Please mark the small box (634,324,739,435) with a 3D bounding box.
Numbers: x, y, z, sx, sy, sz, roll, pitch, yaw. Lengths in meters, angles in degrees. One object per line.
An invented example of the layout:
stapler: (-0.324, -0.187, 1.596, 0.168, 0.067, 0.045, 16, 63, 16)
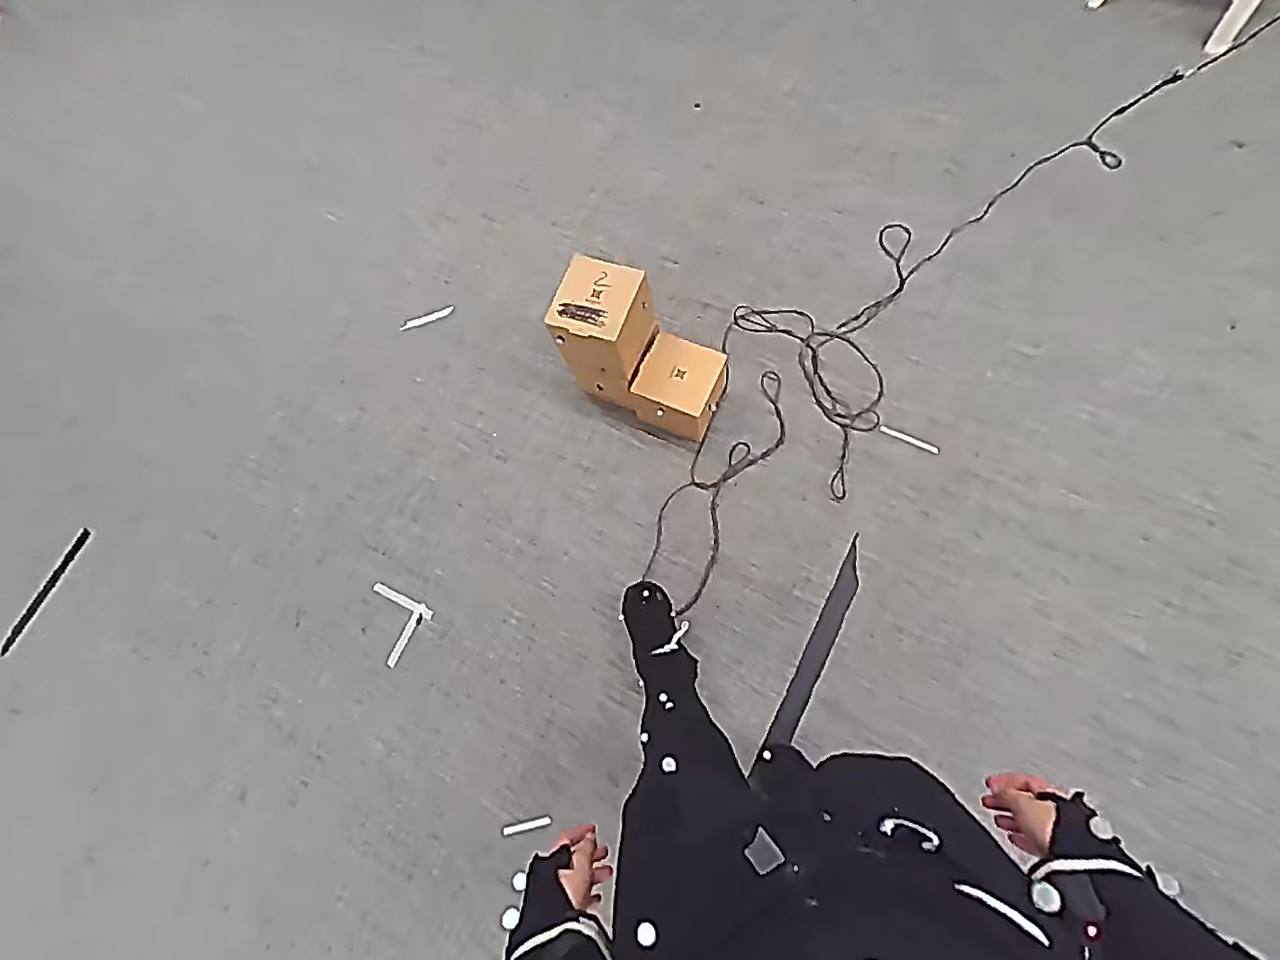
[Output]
small box: (0.105, -0.225, 1.227, 0.179, 0.176, 0.168, -40, 87, 6)
